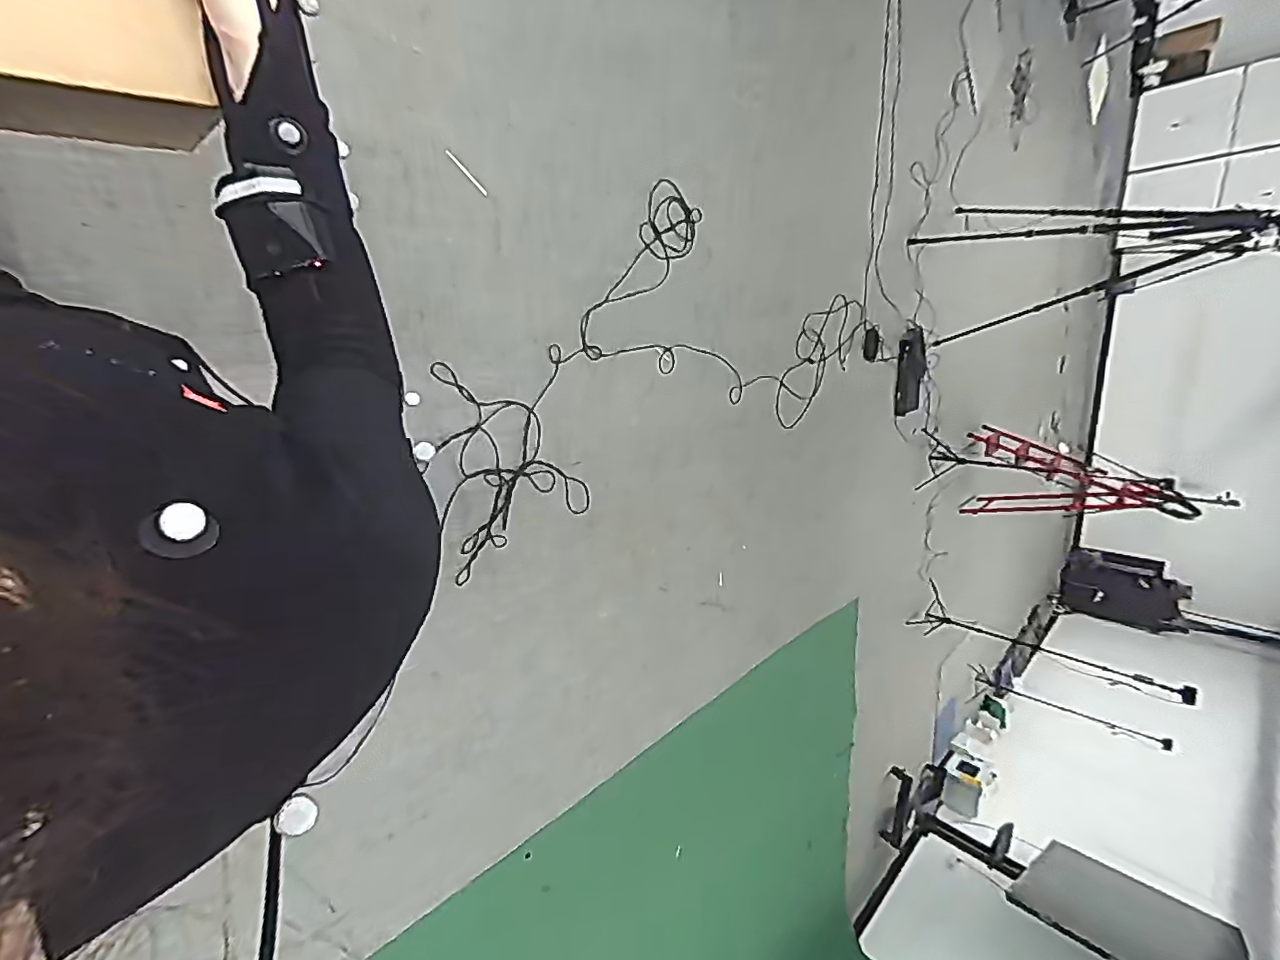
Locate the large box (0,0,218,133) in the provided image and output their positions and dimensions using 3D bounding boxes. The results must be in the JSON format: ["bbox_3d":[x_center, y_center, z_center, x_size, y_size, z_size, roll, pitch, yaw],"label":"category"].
[{"bbox_3d":[-0.539,-0.414,0.308,0.408,0.320,0.320,-17,120,-37],"label":"large box"}]
